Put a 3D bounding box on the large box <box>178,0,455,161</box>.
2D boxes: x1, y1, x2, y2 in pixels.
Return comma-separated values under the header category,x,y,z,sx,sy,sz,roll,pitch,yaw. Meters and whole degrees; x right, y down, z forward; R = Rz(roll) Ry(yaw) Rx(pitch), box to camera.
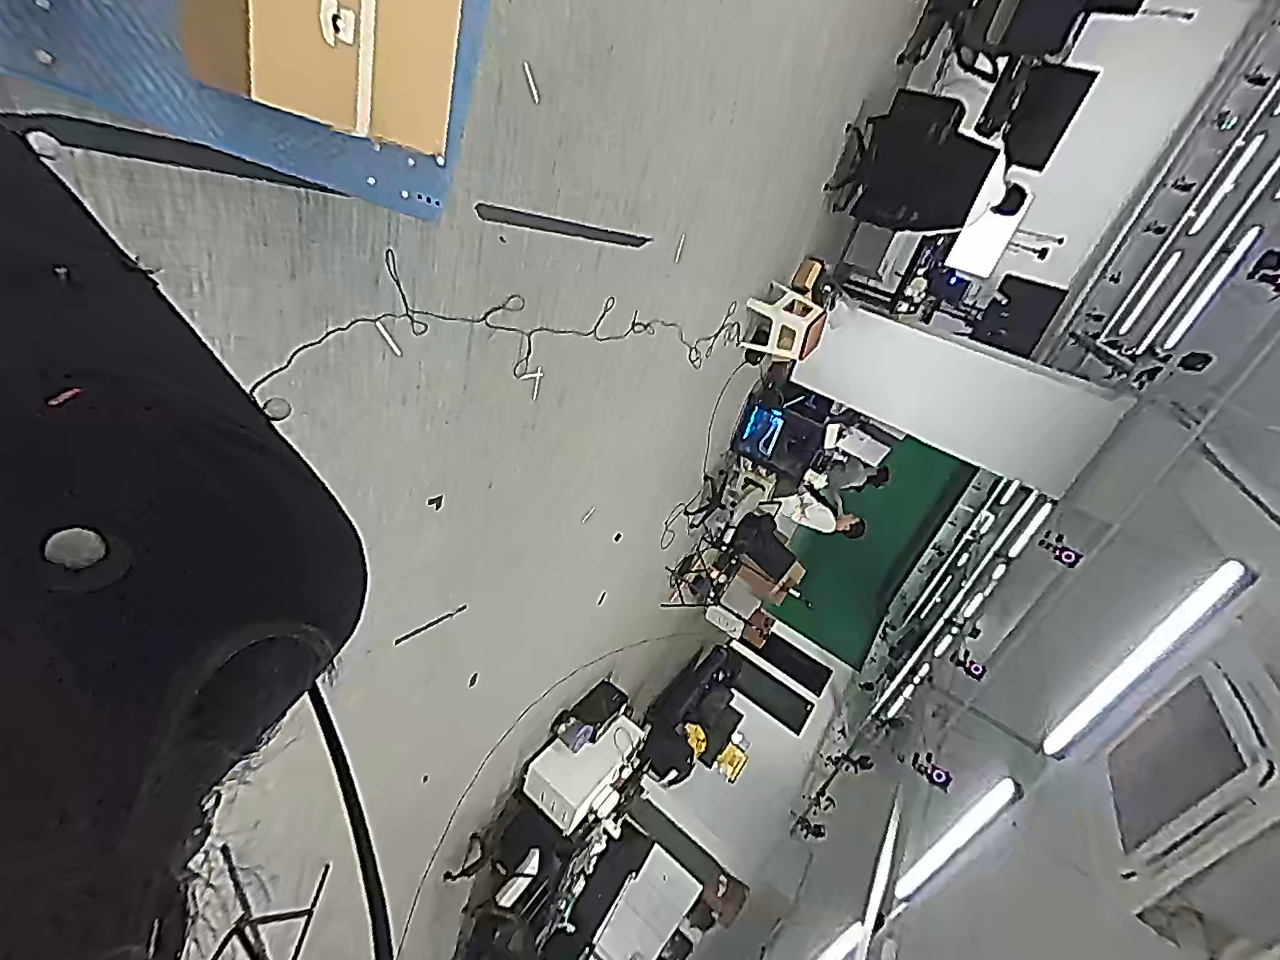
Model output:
category,x,y,z,sx,sy,sz,roll,pitch,yaw
large box,-0.529,-0.817,0.889,0.320,0.320,0.408,-15,131,-50
